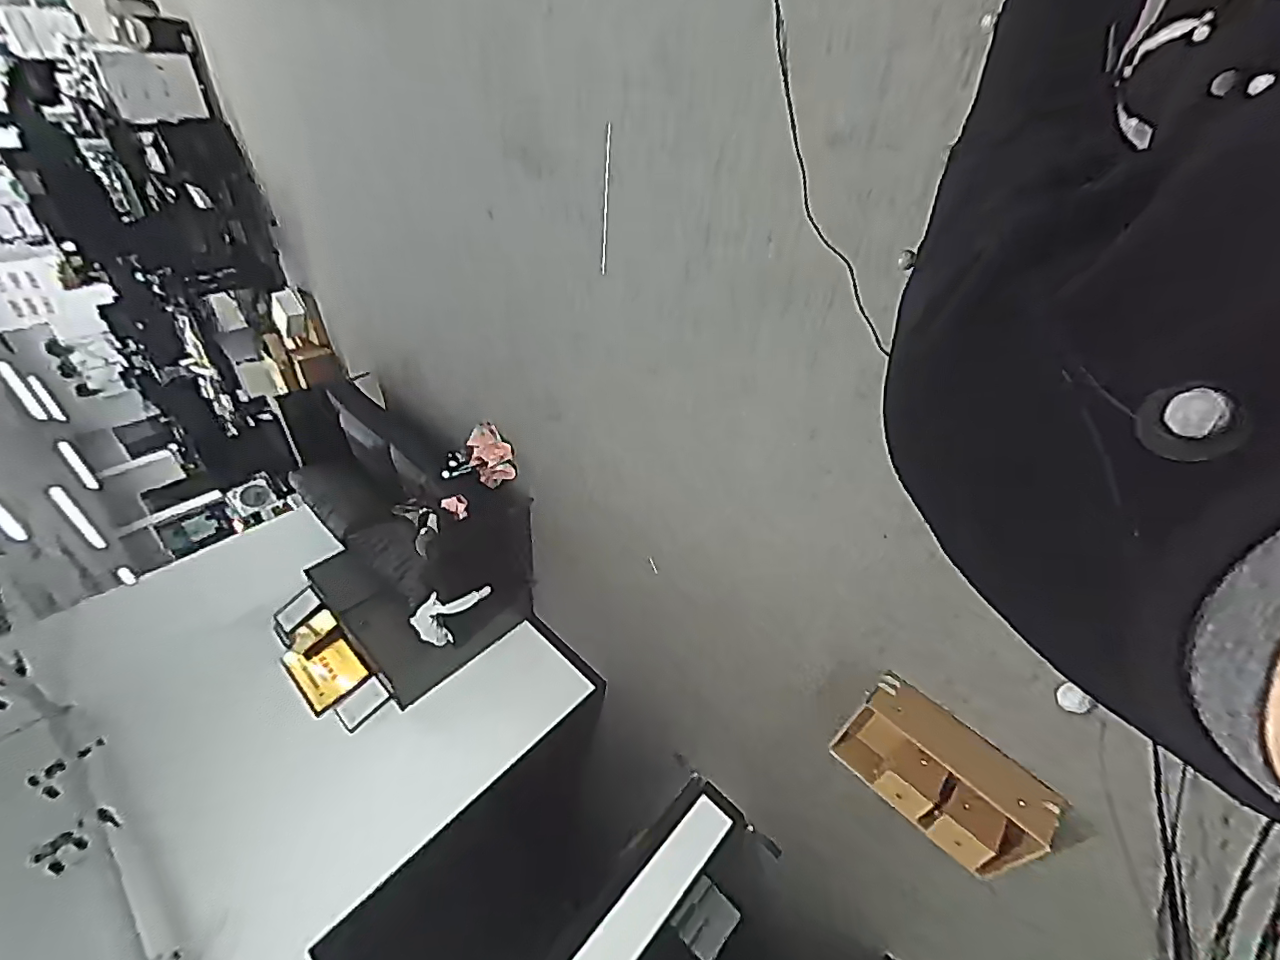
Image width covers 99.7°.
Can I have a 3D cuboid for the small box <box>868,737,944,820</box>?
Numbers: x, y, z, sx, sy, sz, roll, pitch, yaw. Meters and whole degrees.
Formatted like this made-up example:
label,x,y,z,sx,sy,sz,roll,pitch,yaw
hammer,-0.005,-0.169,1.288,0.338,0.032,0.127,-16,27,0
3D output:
label,x,y,z,sx,sy,sz,roll,pitch,yaw
small box,0.971,1.082,1.964,0.168,0.176,0.179,35,137,26
